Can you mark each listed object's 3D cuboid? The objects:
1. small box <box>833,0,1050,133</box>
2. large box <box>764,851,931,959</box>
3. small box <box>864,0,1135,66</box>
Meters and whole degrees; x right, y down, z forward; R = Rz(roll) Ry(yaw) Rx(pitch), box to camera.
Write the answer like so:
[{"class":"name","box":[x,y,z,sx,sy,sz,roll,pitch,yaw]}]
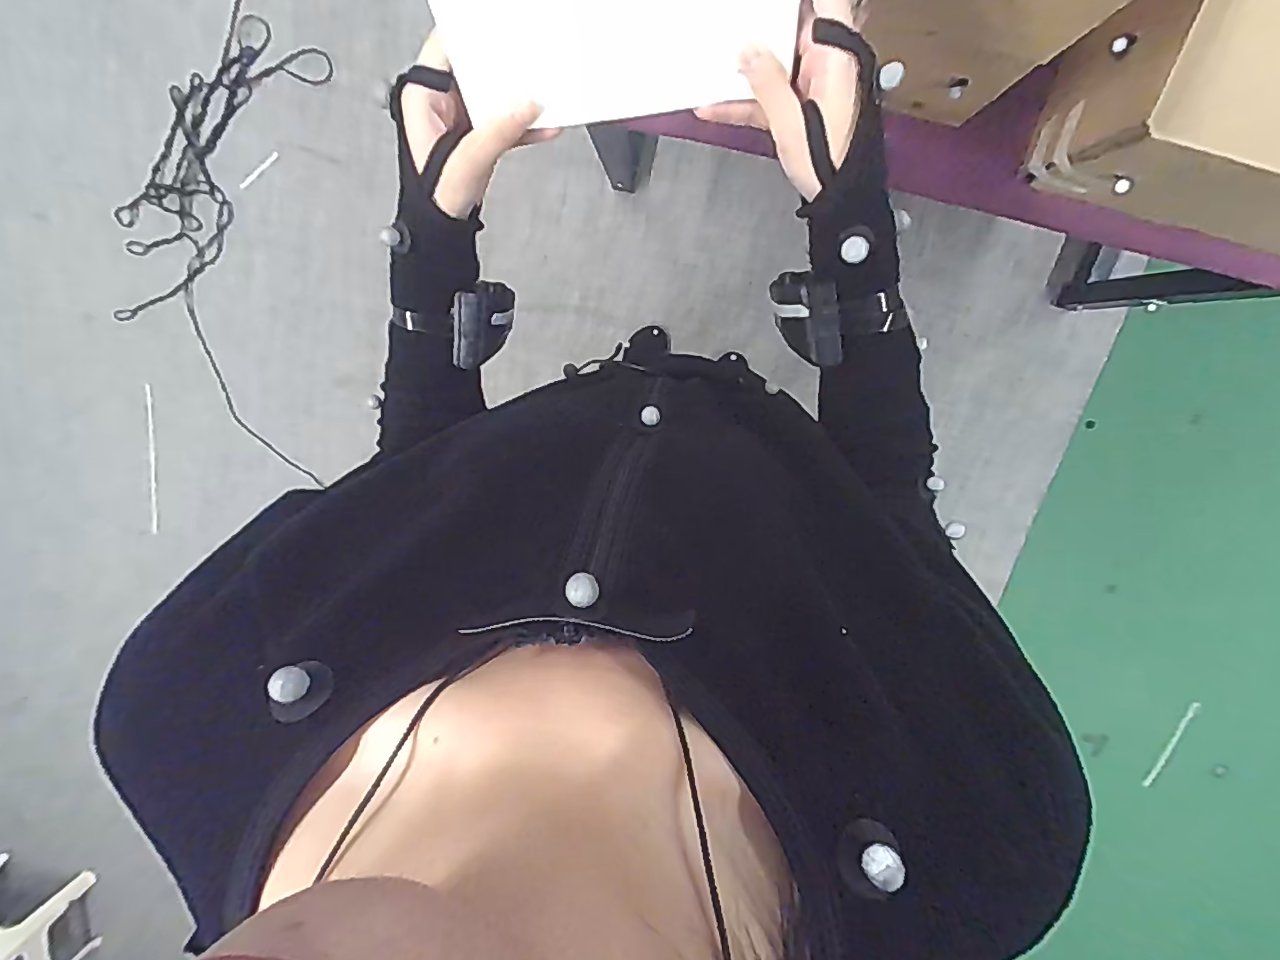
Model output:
[{"class":"small box","box":[0.313,-0.487,0.542,0.168,0.176,0.179,15,103,0]},{"class":"large box","box":[0.610,1.407,1.670,0.408,0.320,0.320,-1,105,3]},{"class":"small box","box":[0.294,-0.441,0.386,0.179,0.176,0.168,15,103,0]}]
